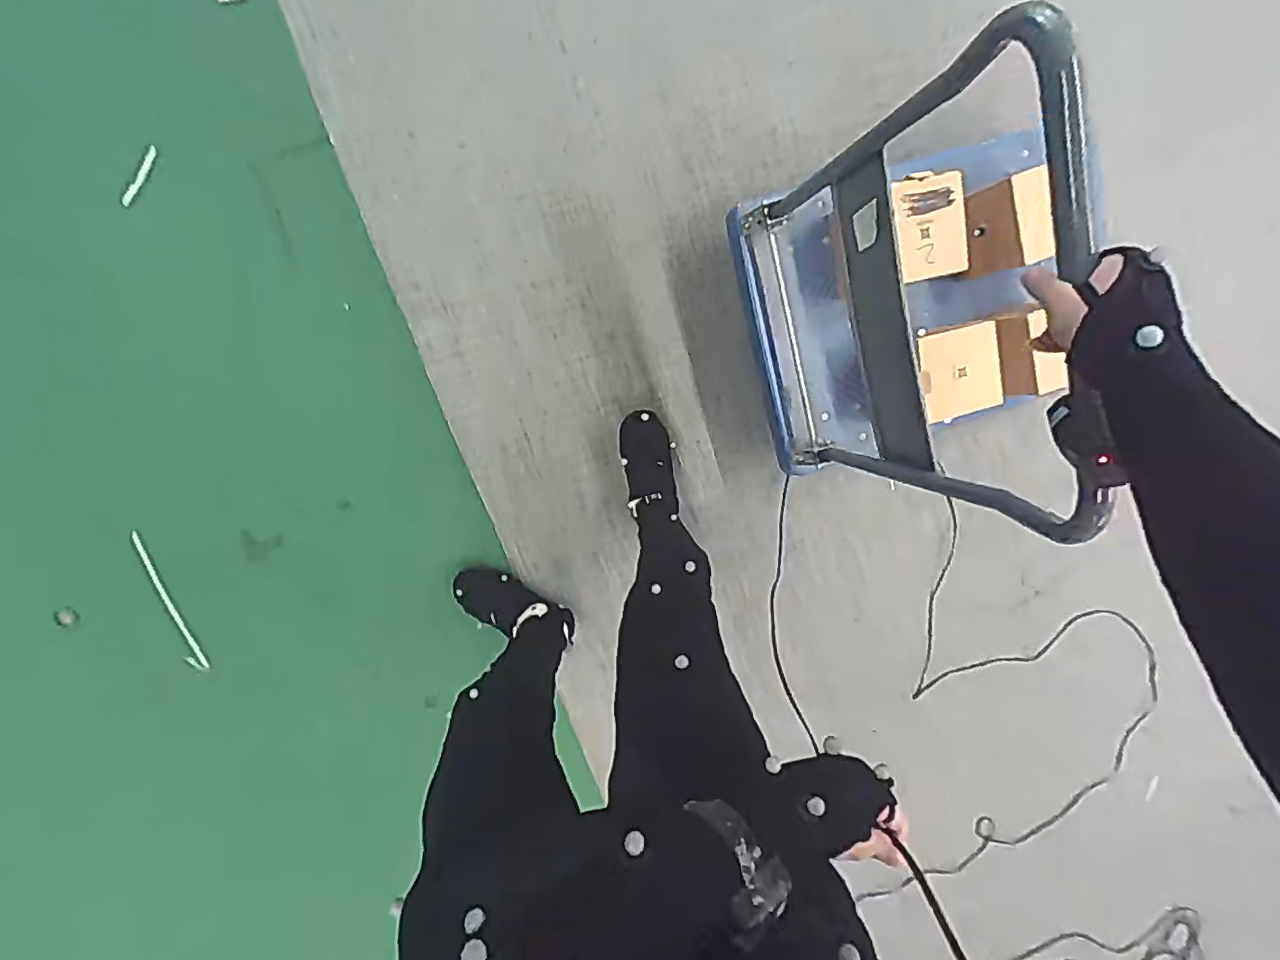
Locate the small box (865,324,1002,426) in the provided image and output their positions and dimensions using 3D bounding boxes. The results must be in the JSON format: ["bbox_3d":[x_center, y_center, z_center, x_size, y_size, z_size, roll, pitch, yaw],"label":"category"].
[{"bbox_3d":[0.593,-0.214,1.104,0.179,0.176,0.168,-15,102,-8],"label":"small box"}]

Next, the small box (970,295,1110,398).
[{"bbox_3d":[0.831,-0.277,1.141,0.179,0.176,0.168,-18,102,-8],"label":"small box"}]

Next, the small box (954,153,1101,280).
[{"bbox_3d":[0.766,-0.517,1.087,0.179,0.176,0.168,-20,103,-8],"label":"small box"}]
